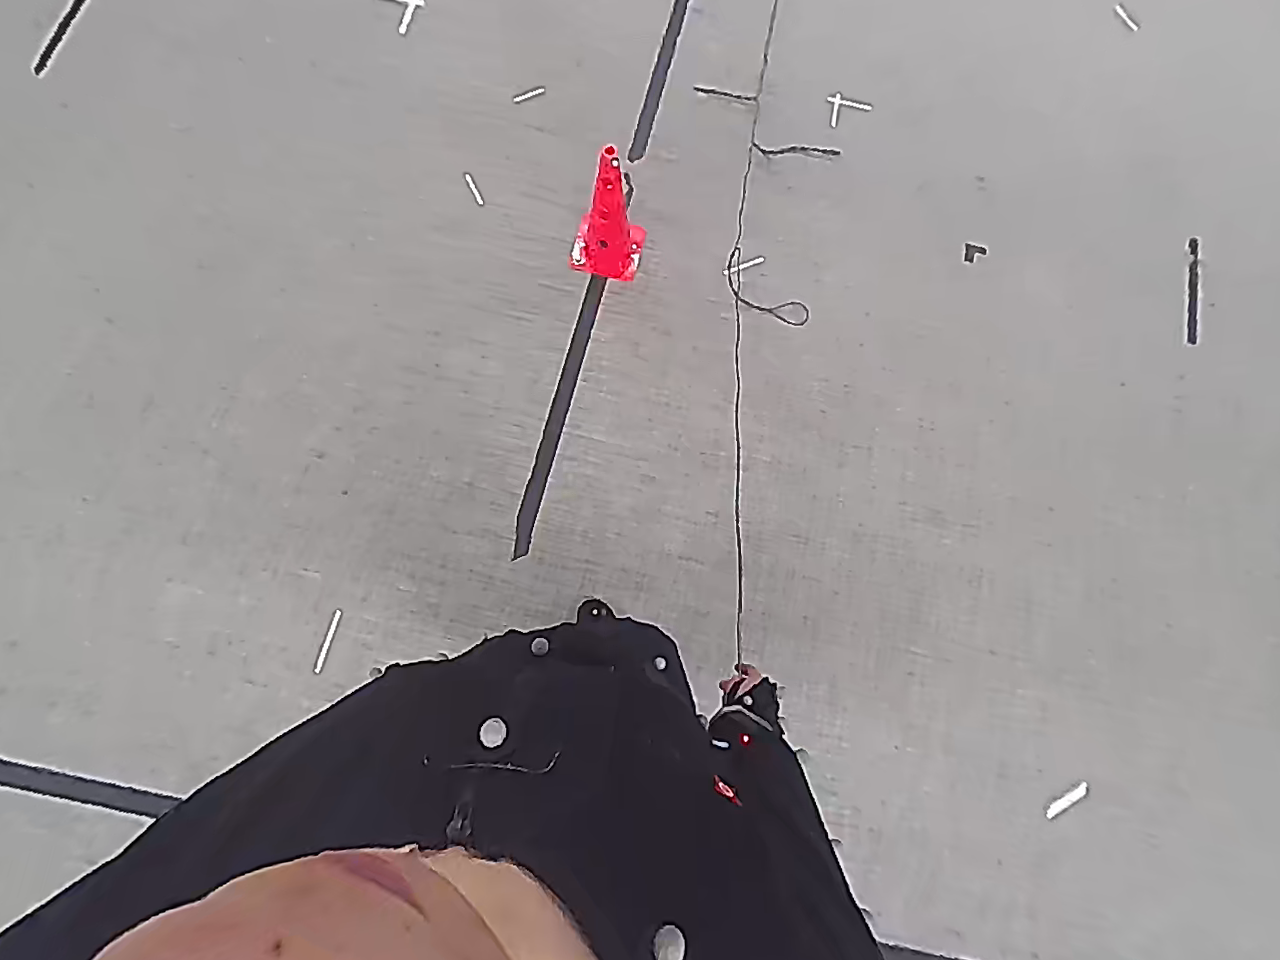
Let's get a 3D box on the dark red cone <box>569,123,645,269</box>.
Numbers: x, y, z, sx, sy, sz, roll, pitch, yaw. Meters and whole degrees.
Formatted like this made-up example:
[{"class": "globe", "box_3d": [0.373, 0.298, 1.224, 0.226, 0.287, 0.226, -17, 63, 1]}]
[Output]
[{"class": "dark red cone", "box_3d": [-0.081, -0.763, 1.440, 0.201, 0.394, 0.202, 13, 76, -2]}]
